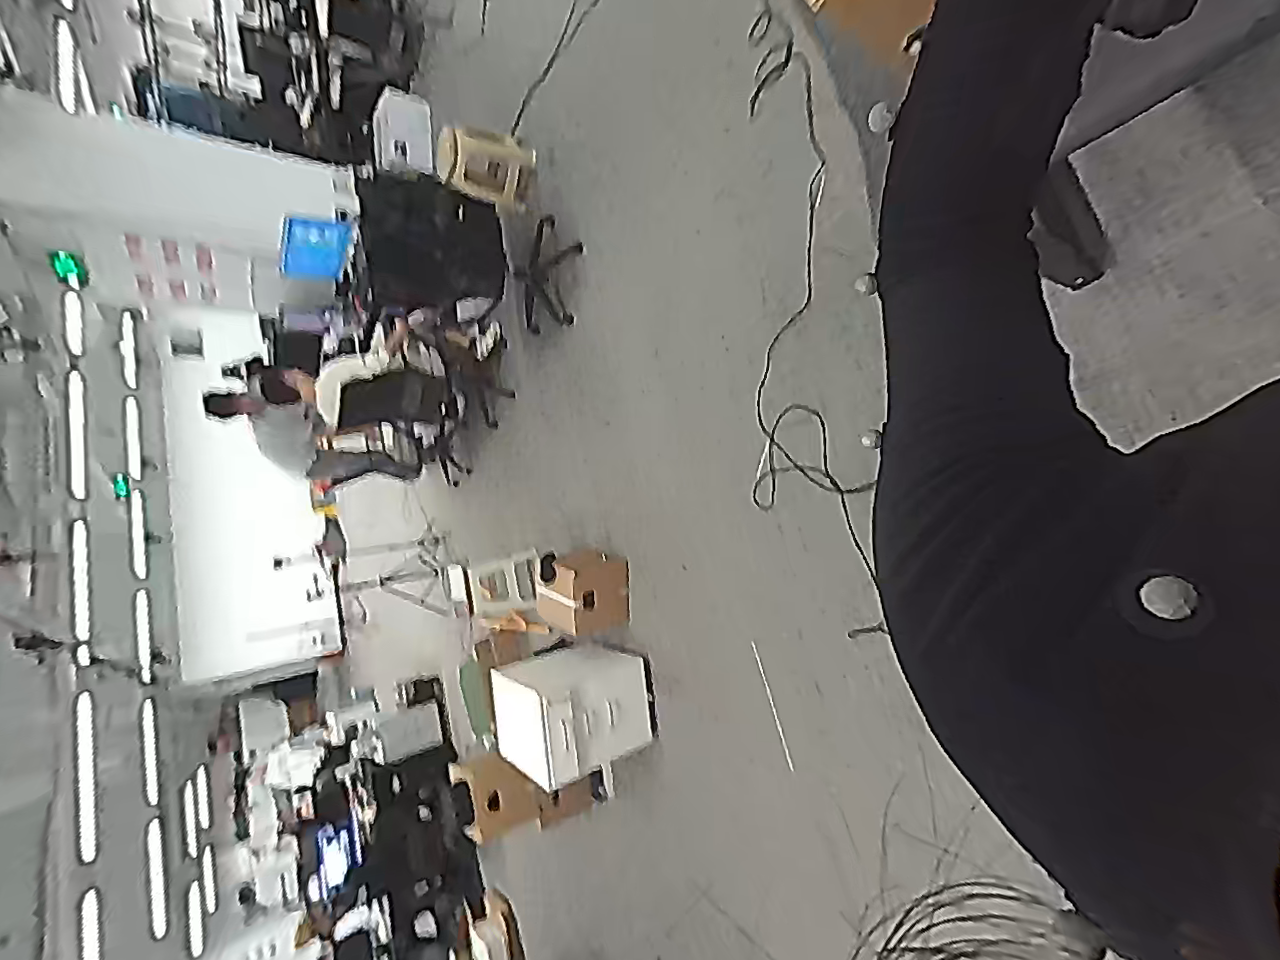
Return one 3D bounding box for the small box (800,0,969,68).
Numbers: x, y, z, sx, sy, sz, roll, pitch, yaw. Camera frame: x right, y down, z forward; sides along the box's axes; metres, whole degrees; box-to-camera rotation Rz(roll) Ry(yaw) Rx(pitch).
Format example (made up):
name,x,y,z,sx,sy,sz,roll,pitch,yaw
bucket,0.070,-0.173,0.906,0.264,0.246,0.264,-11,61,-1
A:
name,x,y,z,sx,sy,sz,roll,pitch,yaw
small box,0.253,-0.561,0.539,0.168,0.176,0.179,-37,62,48
